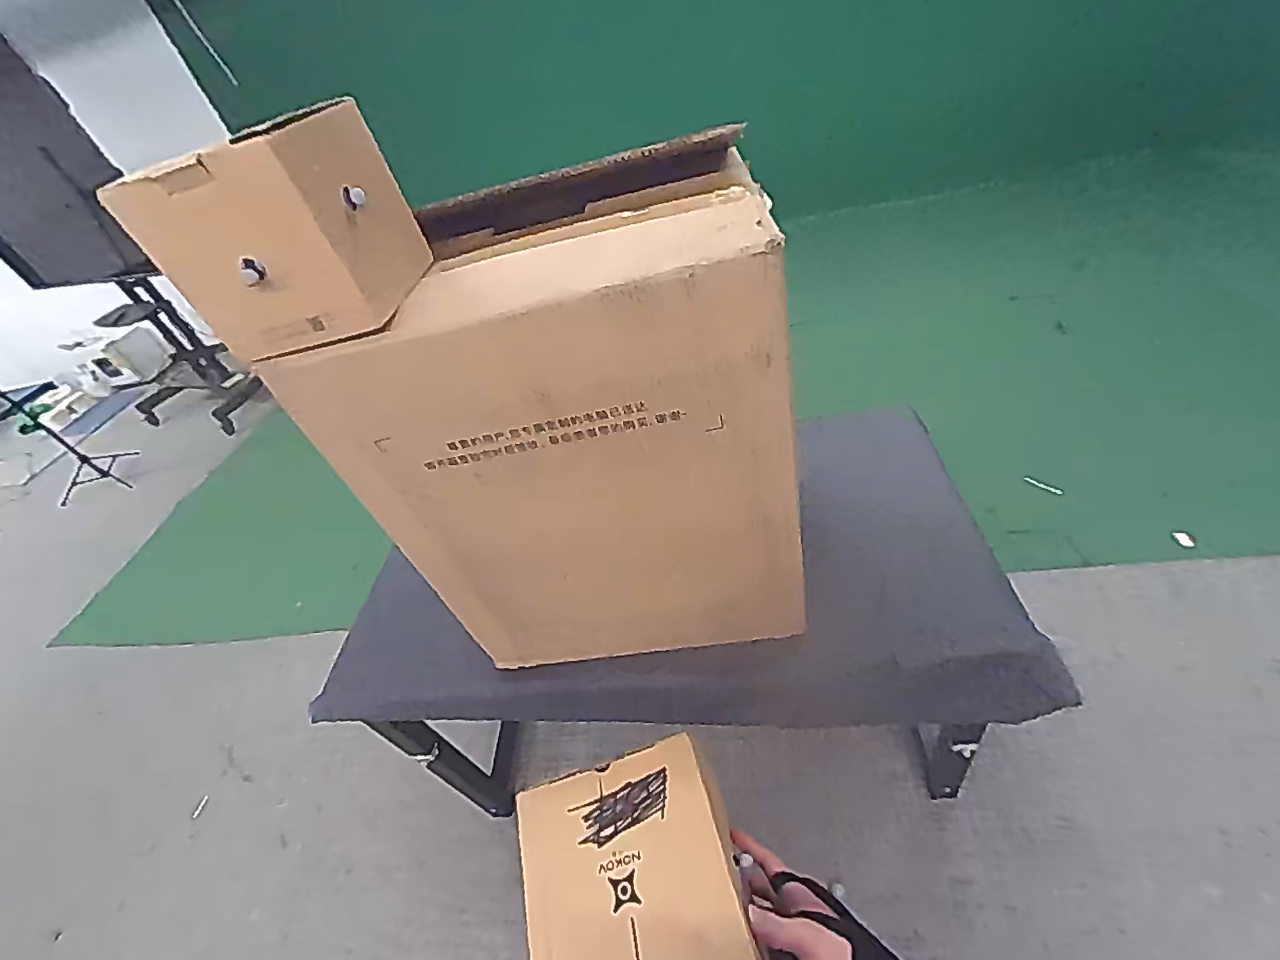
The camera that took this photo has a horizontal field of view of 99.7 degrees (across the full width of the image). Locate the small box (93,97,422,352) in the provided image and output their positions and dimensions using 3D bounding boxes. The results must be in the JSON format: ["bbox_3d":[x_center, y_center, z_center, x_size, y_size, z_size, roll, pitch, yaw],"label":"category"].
[{"bbox_3d":[-0.348,-0.244,0.539,0.168,0.176,0.179,-10,43,11],"label":"small box"}]
